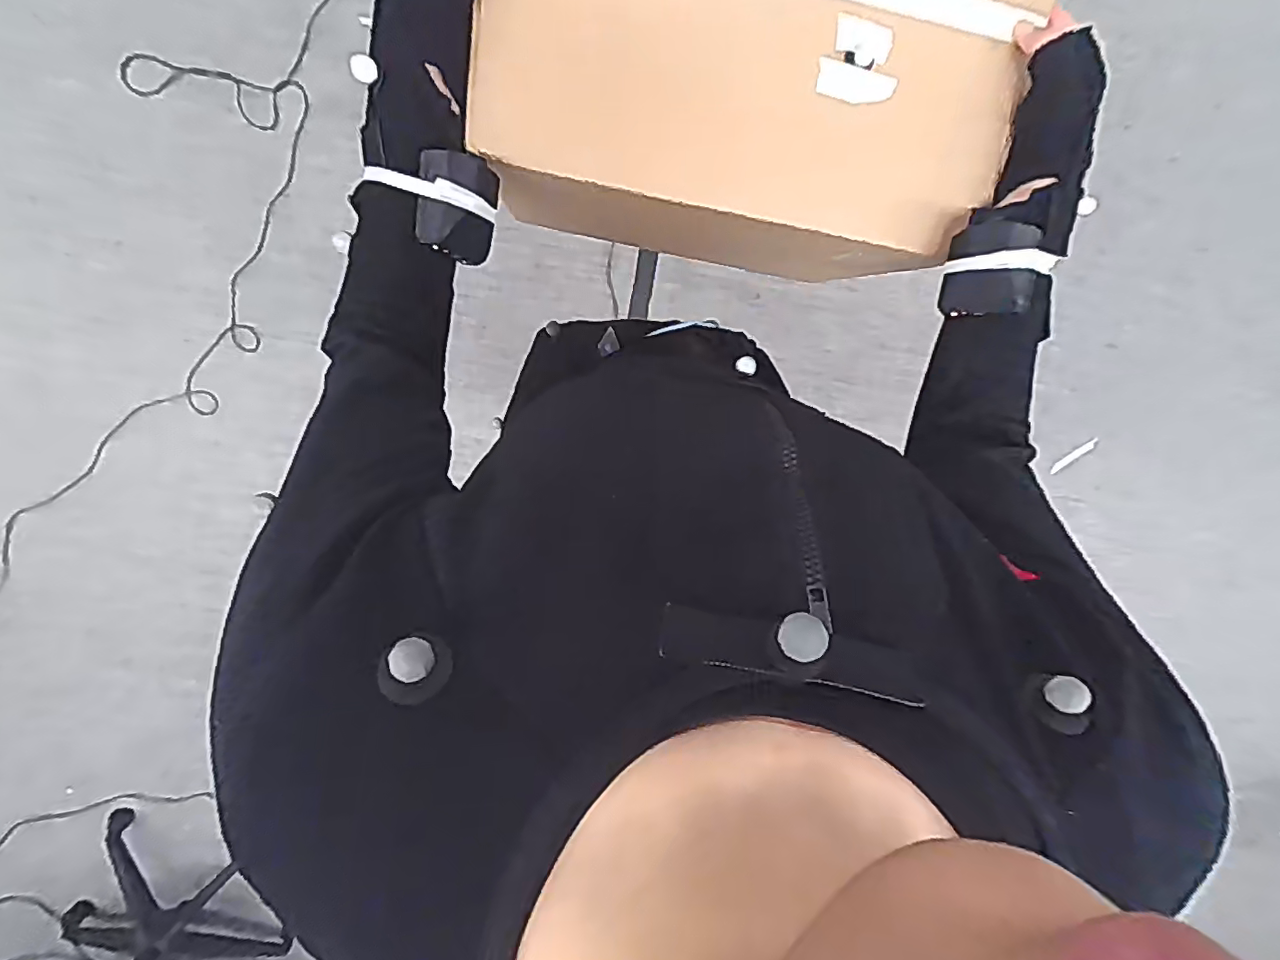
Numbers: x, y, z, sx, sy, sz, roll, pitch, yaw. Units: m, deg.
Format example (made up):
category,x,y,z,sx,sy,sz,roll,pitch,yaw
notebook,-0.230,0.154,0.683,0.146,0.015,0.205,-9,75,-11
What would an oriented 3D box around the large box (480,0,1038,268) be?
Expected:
category,x,y,z,sx,sy,sz,roll,pitch,yaw
large box,0.080,-0.407,0.520,0.408,0.320,0.320,7,108,-10
